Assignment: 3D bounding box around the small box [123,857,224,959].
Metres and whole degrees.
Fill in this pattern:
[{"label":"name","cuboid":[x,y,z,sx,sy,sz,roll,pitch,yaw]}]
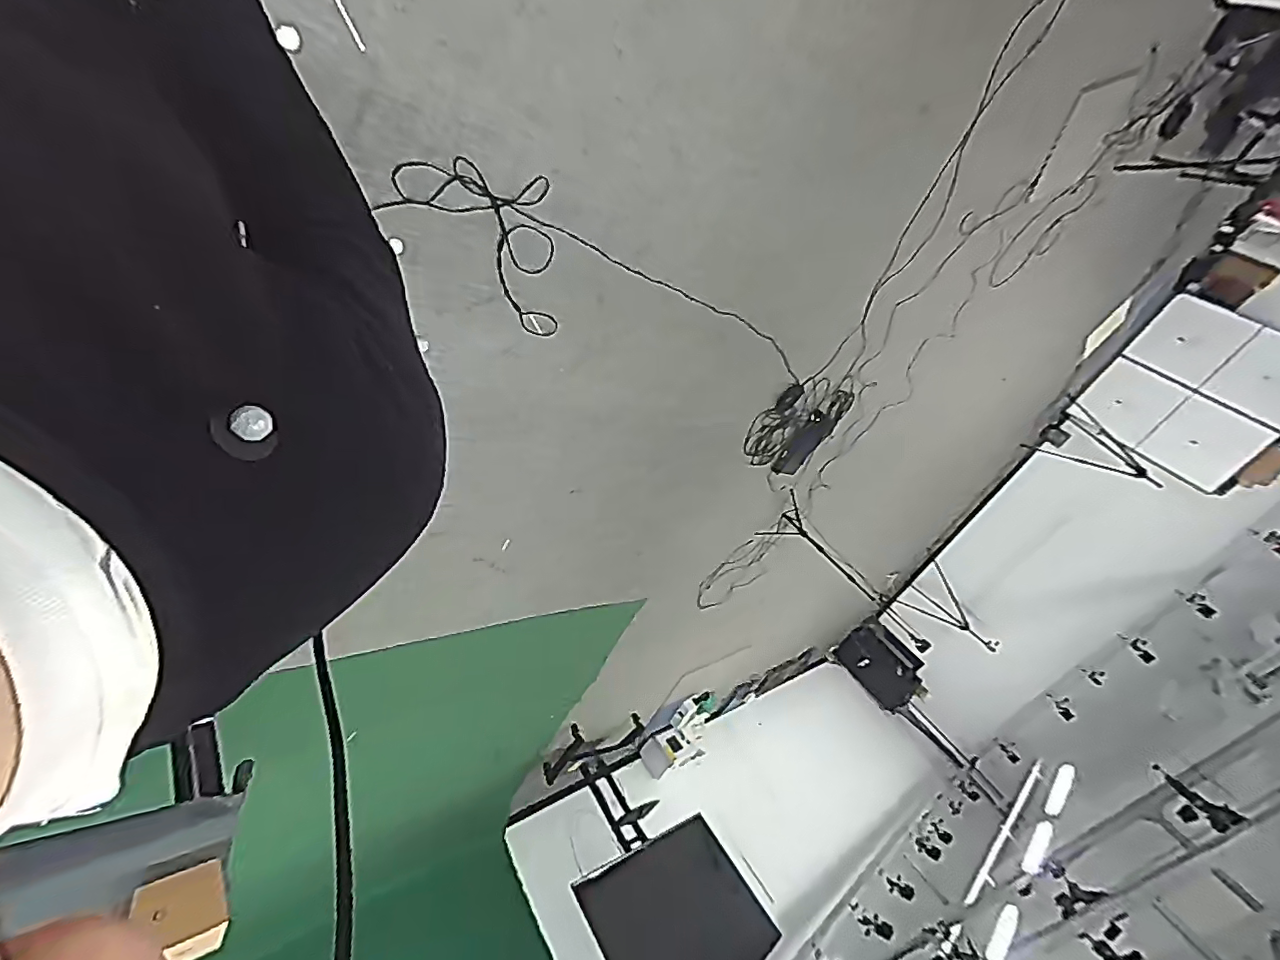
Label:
[{"label":"small box","cuboid":[-1.204,1.124,1.392,0.179,0.176,0.168,5,128,-48]}]
